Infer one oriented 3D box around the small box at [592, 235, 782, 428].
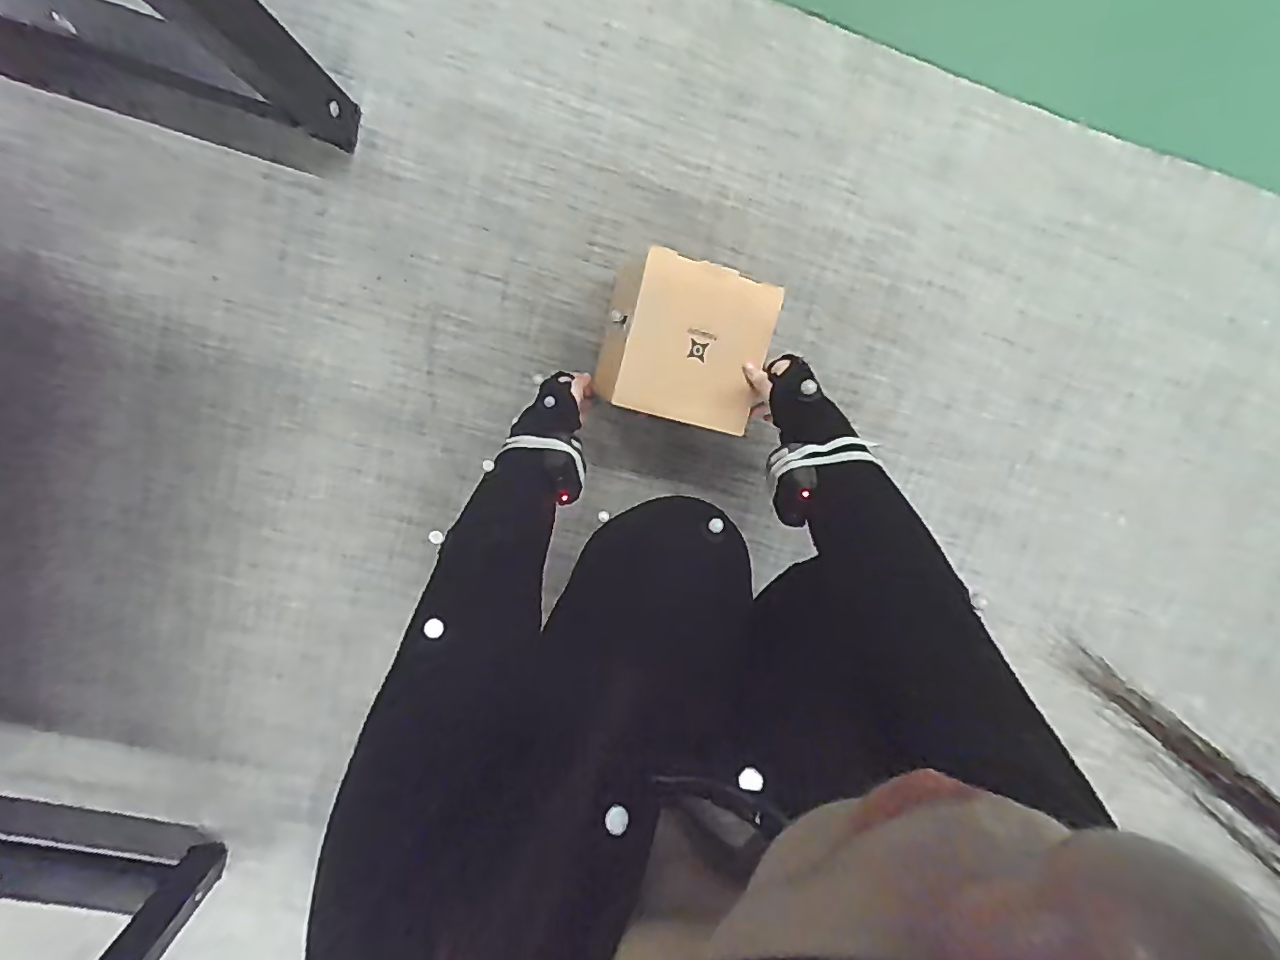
[{"bbox_3d":[0.044,-0.180,0.679,0.168,0.176,0.179,12,102,-19],"label":"small box"}]
